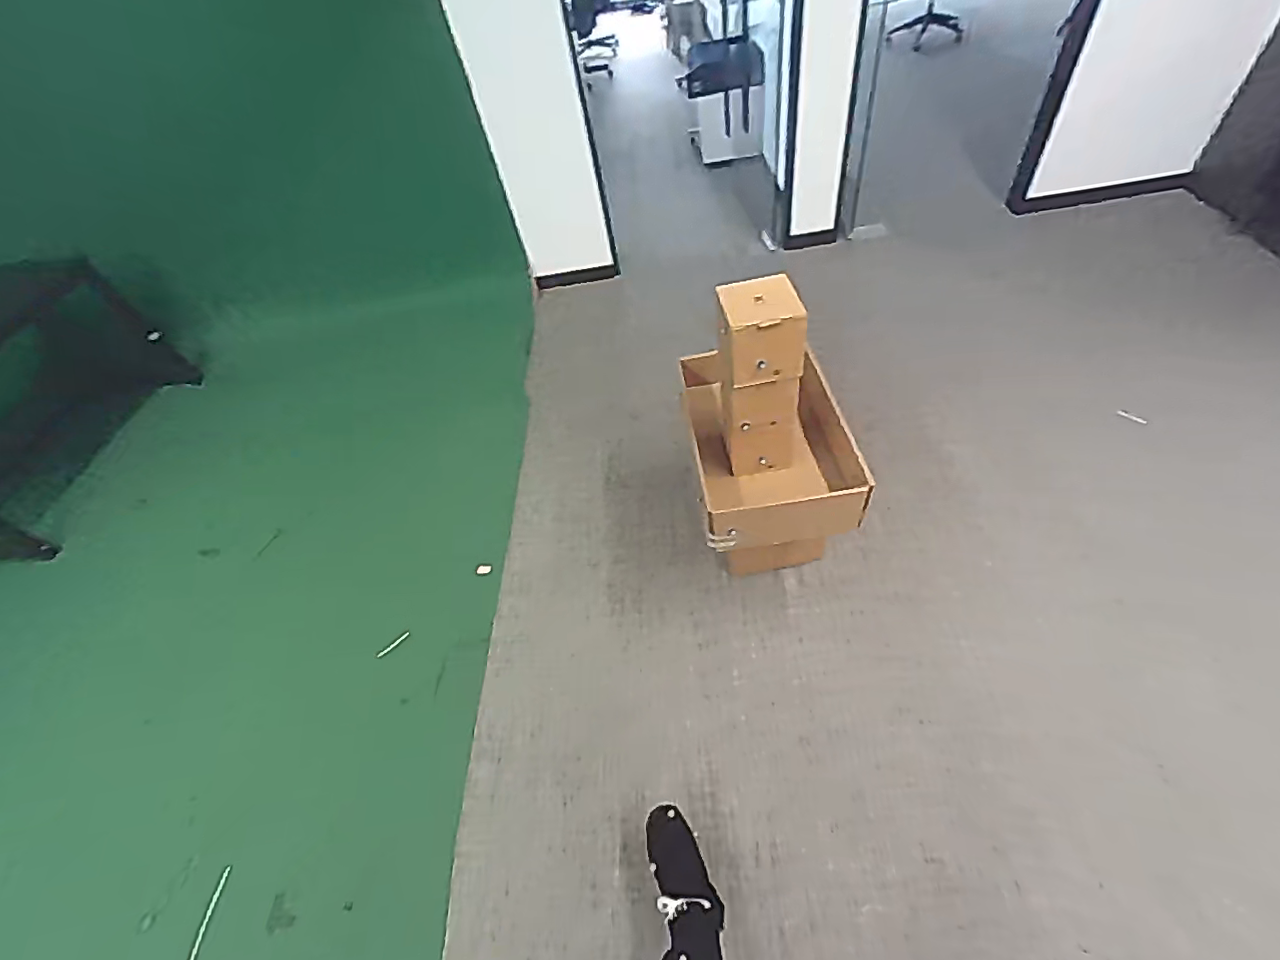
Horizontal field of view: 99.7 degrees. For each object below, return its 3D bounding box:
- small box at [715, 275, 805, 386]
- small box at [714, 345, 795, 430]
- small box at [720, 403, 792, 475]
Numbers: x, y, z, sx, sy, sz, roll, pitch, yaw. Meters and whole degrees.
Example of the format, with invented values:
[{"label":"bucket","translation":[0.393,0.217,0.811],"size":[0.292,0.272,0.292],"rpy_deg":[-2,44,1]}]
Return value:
[{"label":"small box","translation":[0.270,-0.345,1.258],"size":[0.168,0.176,0.179],"rpy_deg":[-10,49,2]},{"label":"small box","translation":[0.291,-0.244,1.383],"size":[0.168,0.176,0.179],"rpy_deg":[-10,48,2]},{"label":"small box","translation":[0.316,-0.139,1.506],"size":[0.168,0.176,0.179],"rpy_deg":[-9,49,4]}]
